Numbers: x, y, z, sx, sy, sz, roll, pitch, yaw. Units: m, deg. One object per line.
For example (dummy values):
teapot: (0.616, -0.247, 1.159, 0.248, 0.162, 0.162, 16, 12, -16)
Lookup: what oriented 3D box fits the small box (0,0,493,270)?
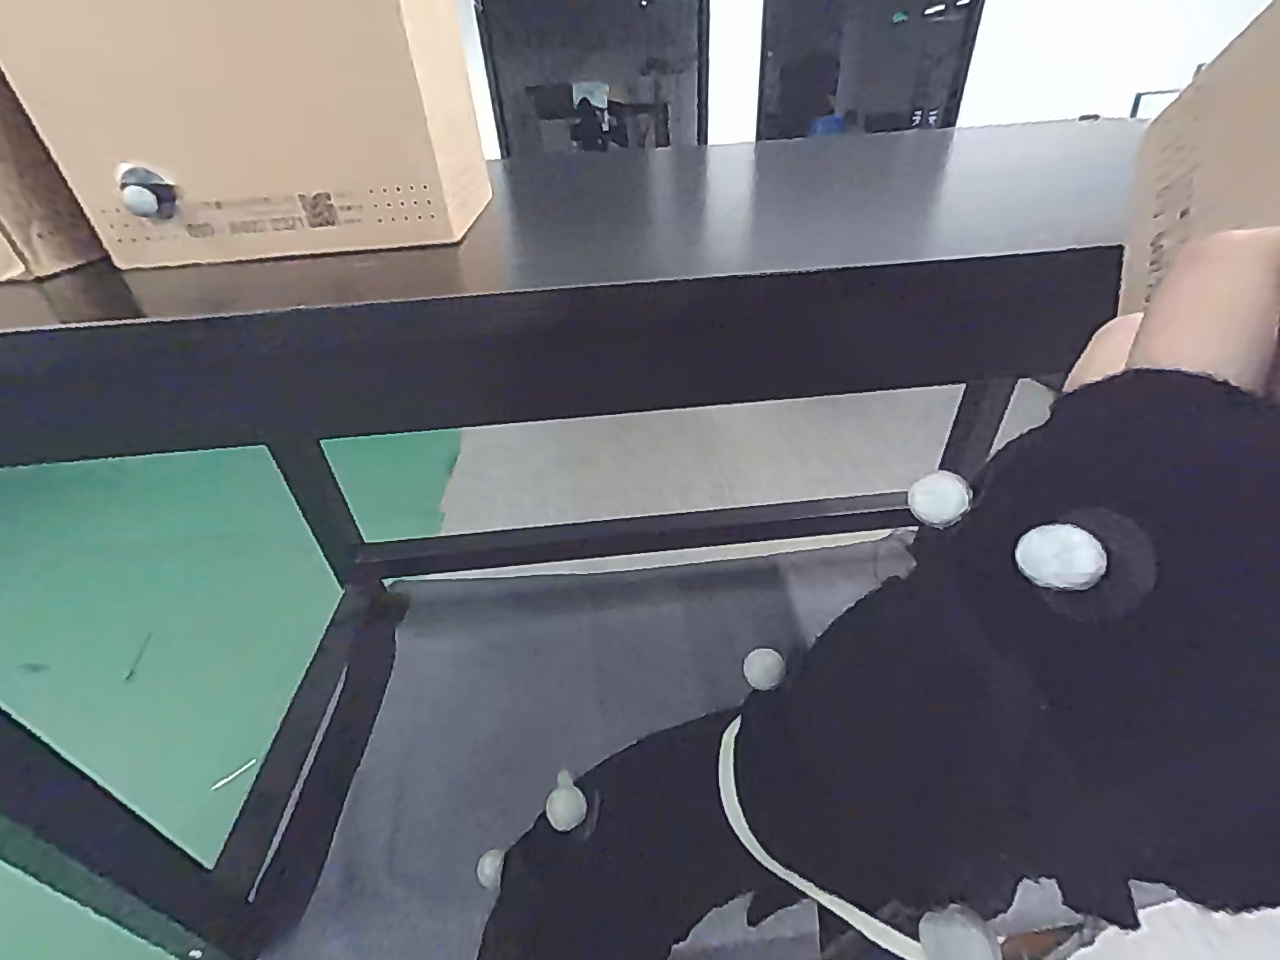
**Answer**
small box: (-0.186, -0.220, 0.300, 0.168, 0.176, 0.179, -6, 34, -3)
